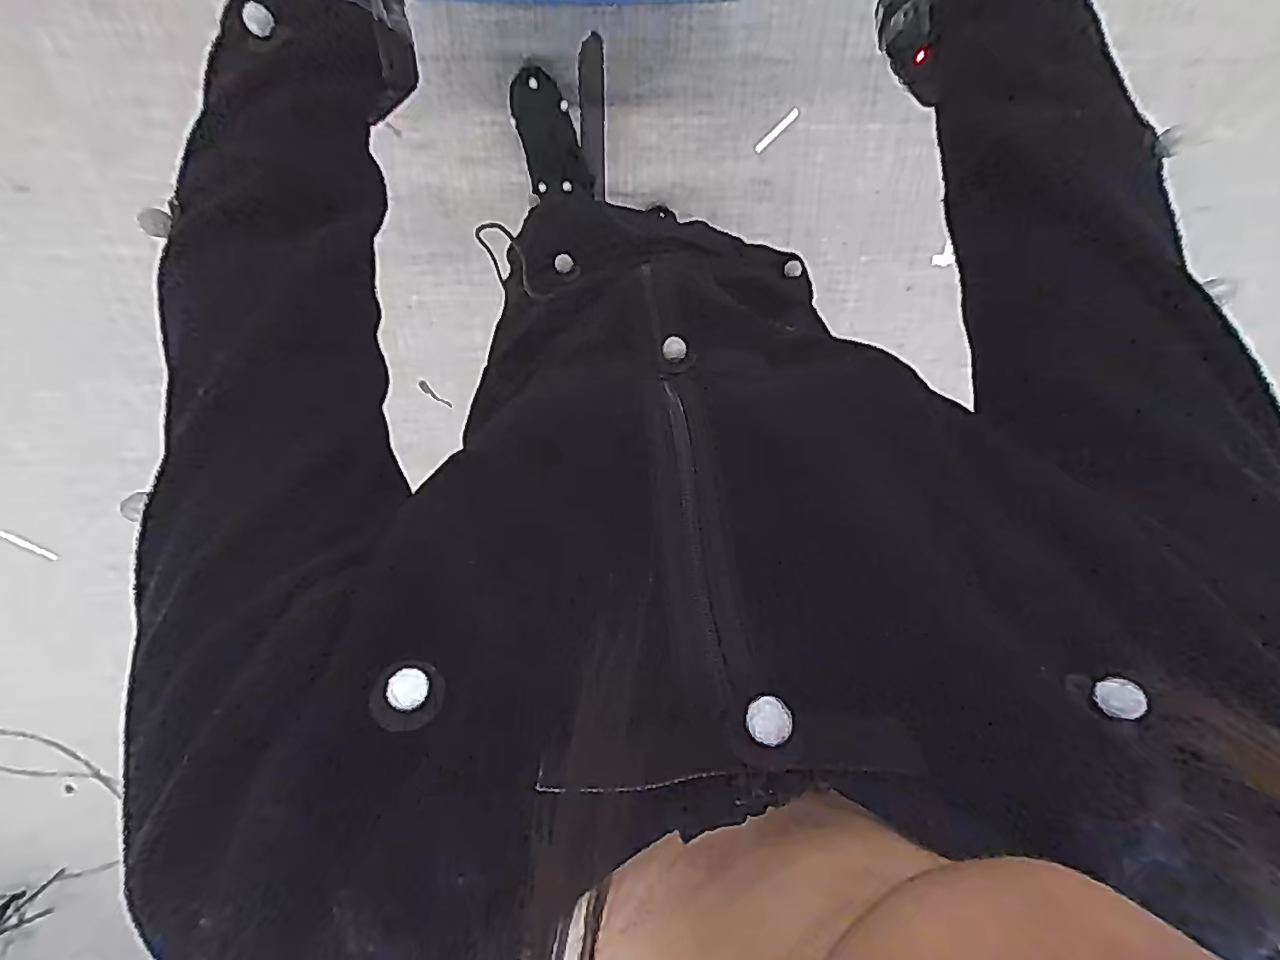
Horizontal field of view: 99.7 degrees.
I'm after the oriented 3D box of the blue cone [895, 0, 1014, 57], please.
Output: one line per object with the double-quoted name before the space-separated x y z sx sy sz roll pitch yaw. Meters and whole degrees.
"blue cone" 0.609 -0.846 0.903 0.193 0.380 0.192 -6 124 -3
